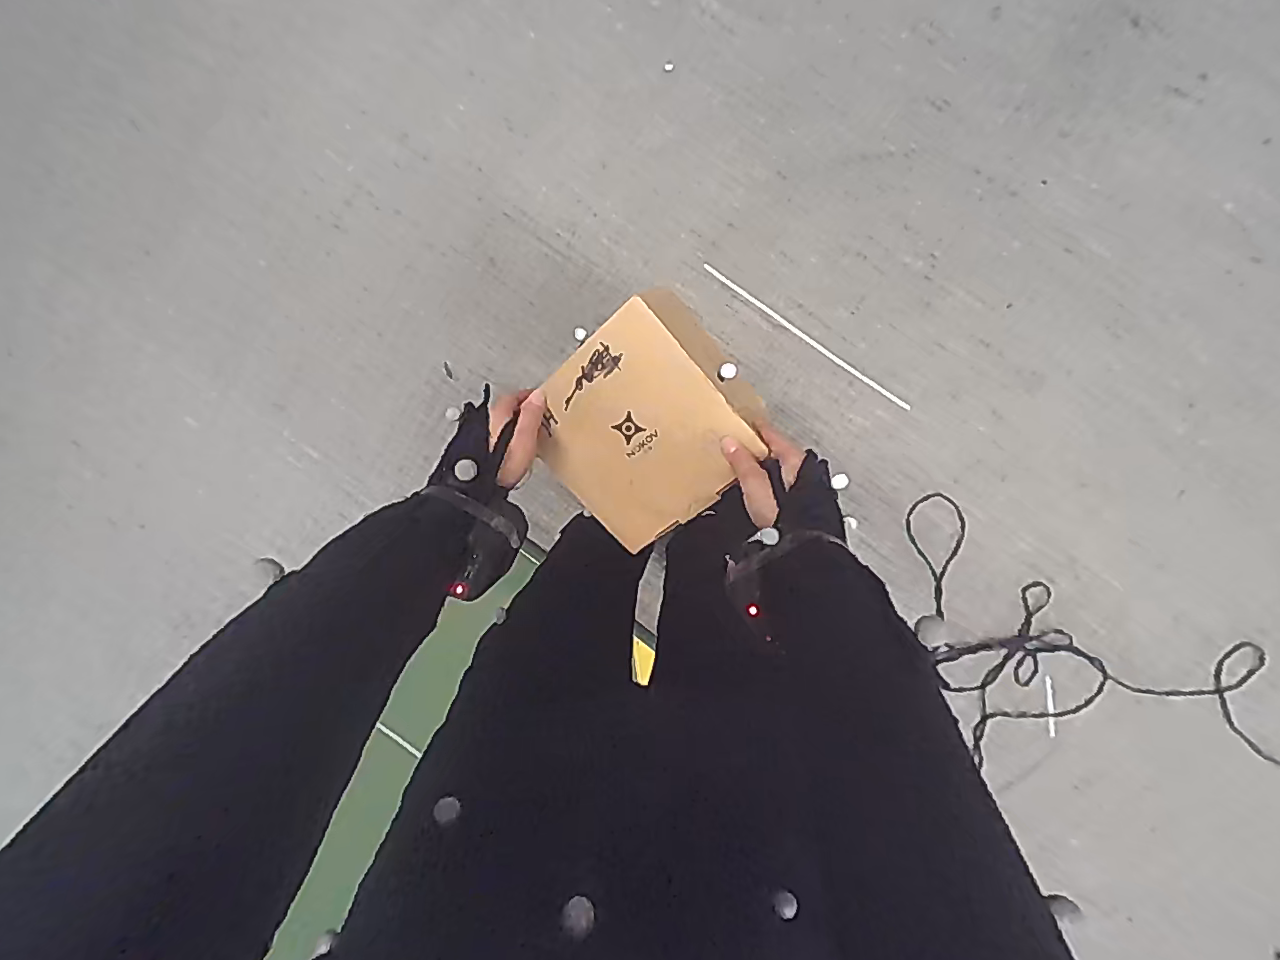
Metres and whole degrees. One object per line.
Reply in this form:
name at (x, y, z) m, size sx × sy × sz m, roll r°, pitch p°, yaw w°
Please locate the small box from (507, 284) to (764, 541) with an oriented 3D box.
small box at (0.007, -0.078, 0.547) m, size 0.168 × 0.176 × 0.179 m, roll -38°, pitch 101°, yaw 22°
